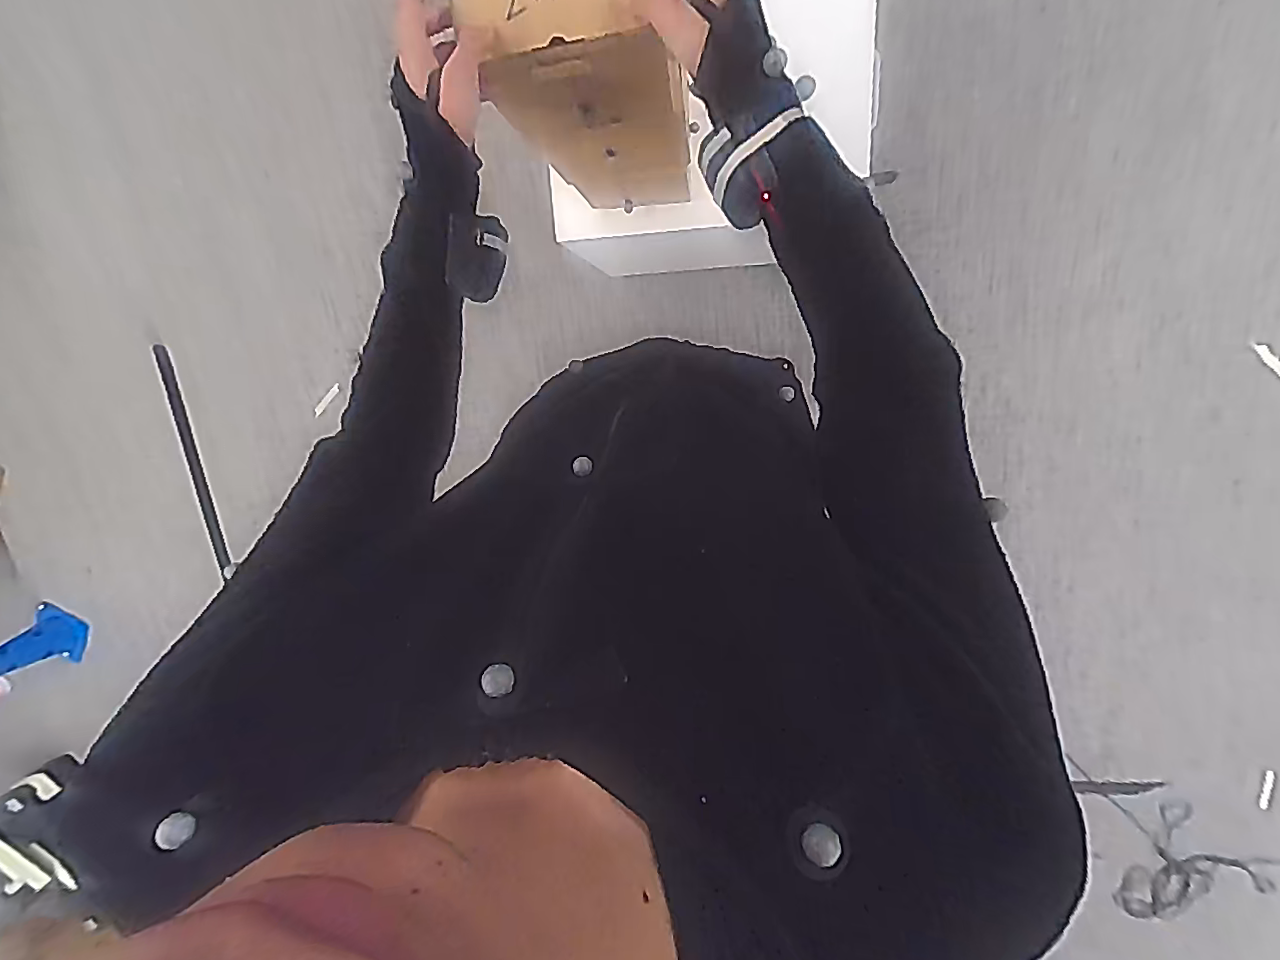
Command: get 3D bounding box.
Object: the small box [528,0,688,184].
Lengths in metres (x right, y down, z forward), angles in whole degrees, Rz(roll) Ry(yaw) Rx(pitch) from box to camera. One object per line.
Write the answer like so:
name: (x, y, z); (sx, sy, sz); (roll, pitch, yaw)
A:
small box: (-0.036, -0.475, 0.644); (0.179, 0.176, 0.168); (-5, 103, 9)

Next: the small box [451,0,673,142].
small box: (-0.063, -0.440, 0.485); (0.168, 0.176, 0.179); (-4, 103, 9)

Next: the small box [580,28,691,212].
small box: (-0.011, -0.516, 0.801); (0.168, 0.176, 0.179); (-1, 104, 7)
